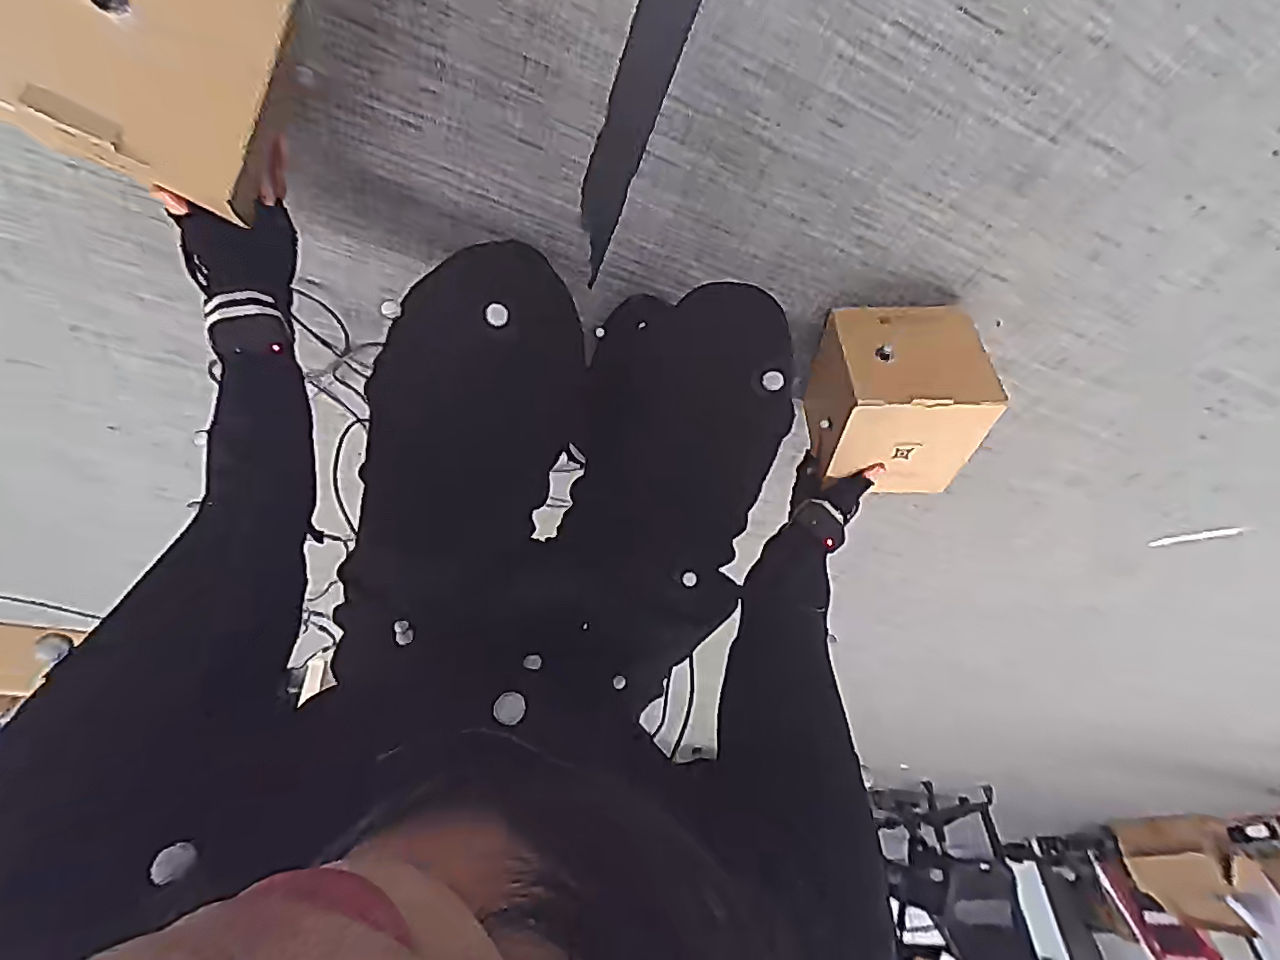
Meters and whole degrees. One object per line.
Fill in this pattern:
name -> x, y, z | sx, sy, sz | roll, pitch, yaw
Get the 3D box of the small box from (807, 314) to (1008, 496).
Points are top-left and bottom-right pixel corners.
small box -> 0.320, -0.096, 0.695 | 0.168, 0.176, 0.179 | 1, 146, 4

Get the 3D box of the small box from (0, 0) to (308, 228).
small box -> -0.355, -0.309, 0.383 | 0.168, 0.179, 0.176 | 20, 95, -35
